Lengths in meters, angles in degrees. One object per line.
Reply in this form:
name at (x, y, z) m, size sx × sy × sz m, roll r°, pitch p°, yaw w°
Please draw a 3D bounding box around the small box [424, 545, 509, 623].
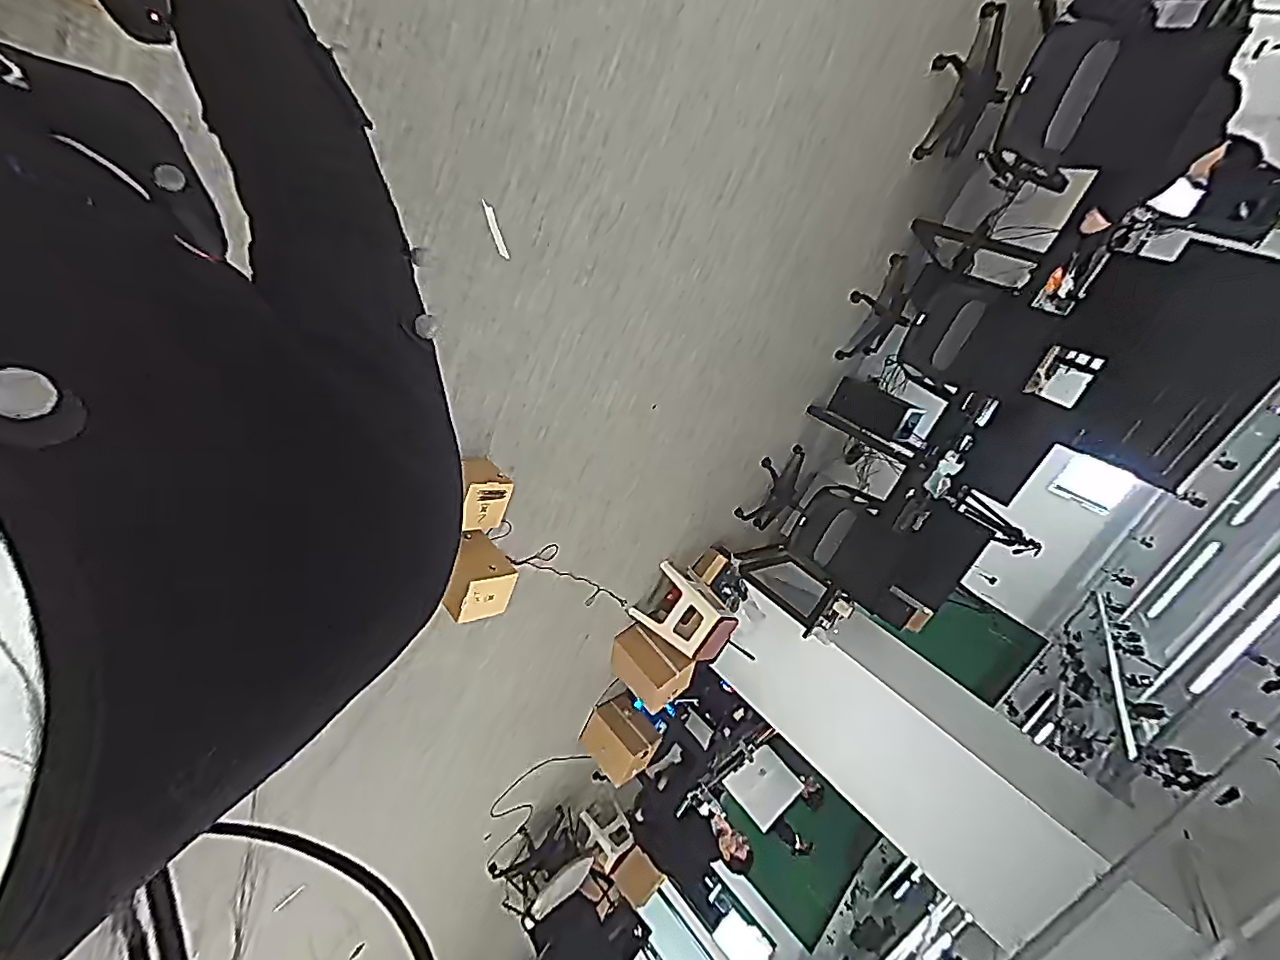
small box at (-0.552, 0.320, 1.715) m, size 0.179 × 0.176 × 0.168 m, roll -1°, pitch 121°, yaw -51°
